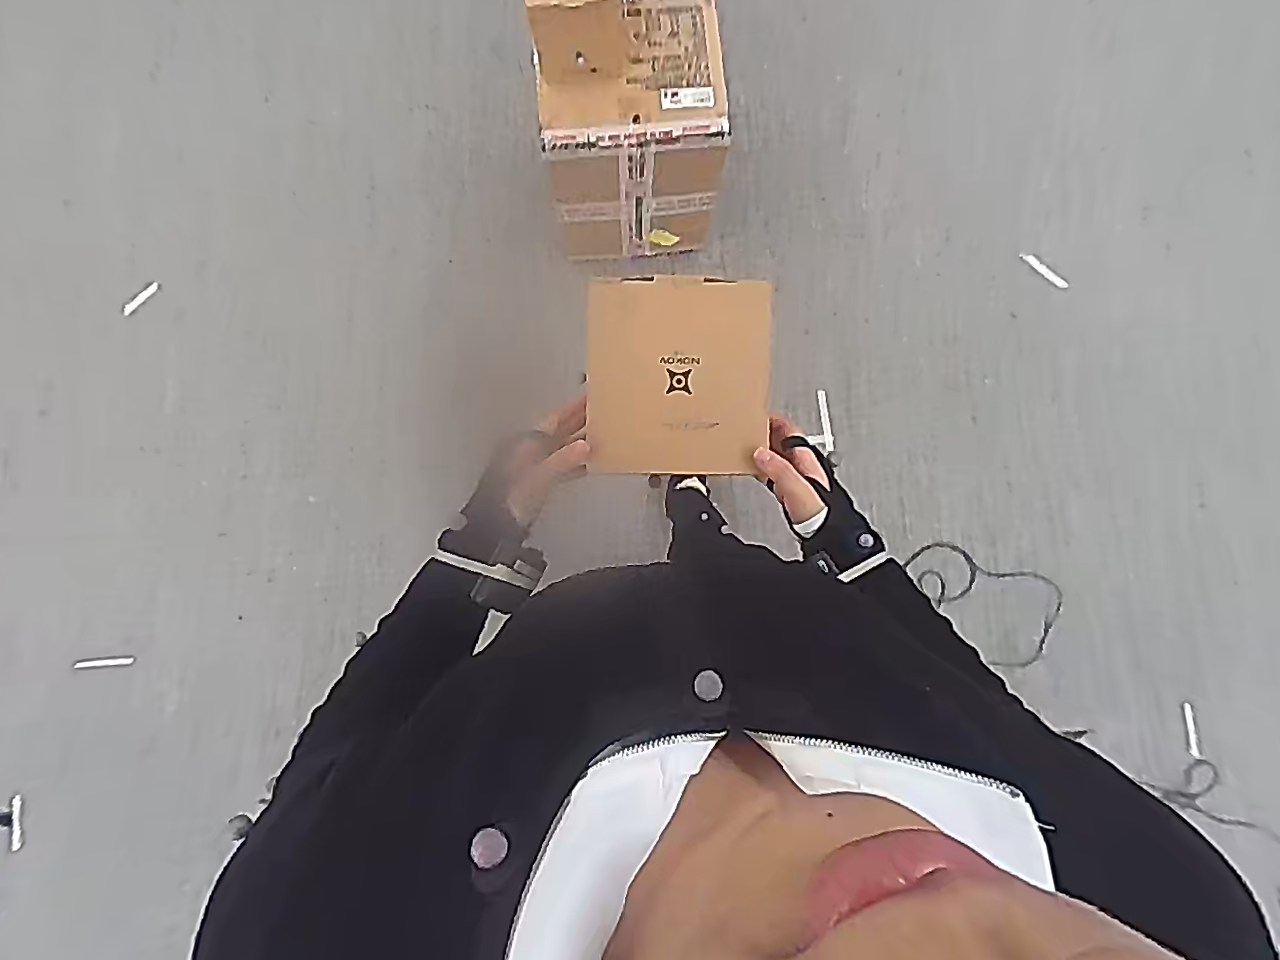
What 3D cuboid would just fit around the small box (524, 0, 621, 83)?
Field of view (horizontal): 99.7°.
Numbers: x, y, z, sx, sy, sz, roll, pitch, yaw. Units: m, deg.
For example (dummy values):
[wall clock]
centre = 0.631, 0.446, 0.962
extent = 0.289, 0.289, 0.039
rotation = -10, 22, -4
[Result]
[small box]
centre = -0.125, -0.901, 1.023
extent = 0.168, 0.176, 0.179
rotation = -4, 87, 1
